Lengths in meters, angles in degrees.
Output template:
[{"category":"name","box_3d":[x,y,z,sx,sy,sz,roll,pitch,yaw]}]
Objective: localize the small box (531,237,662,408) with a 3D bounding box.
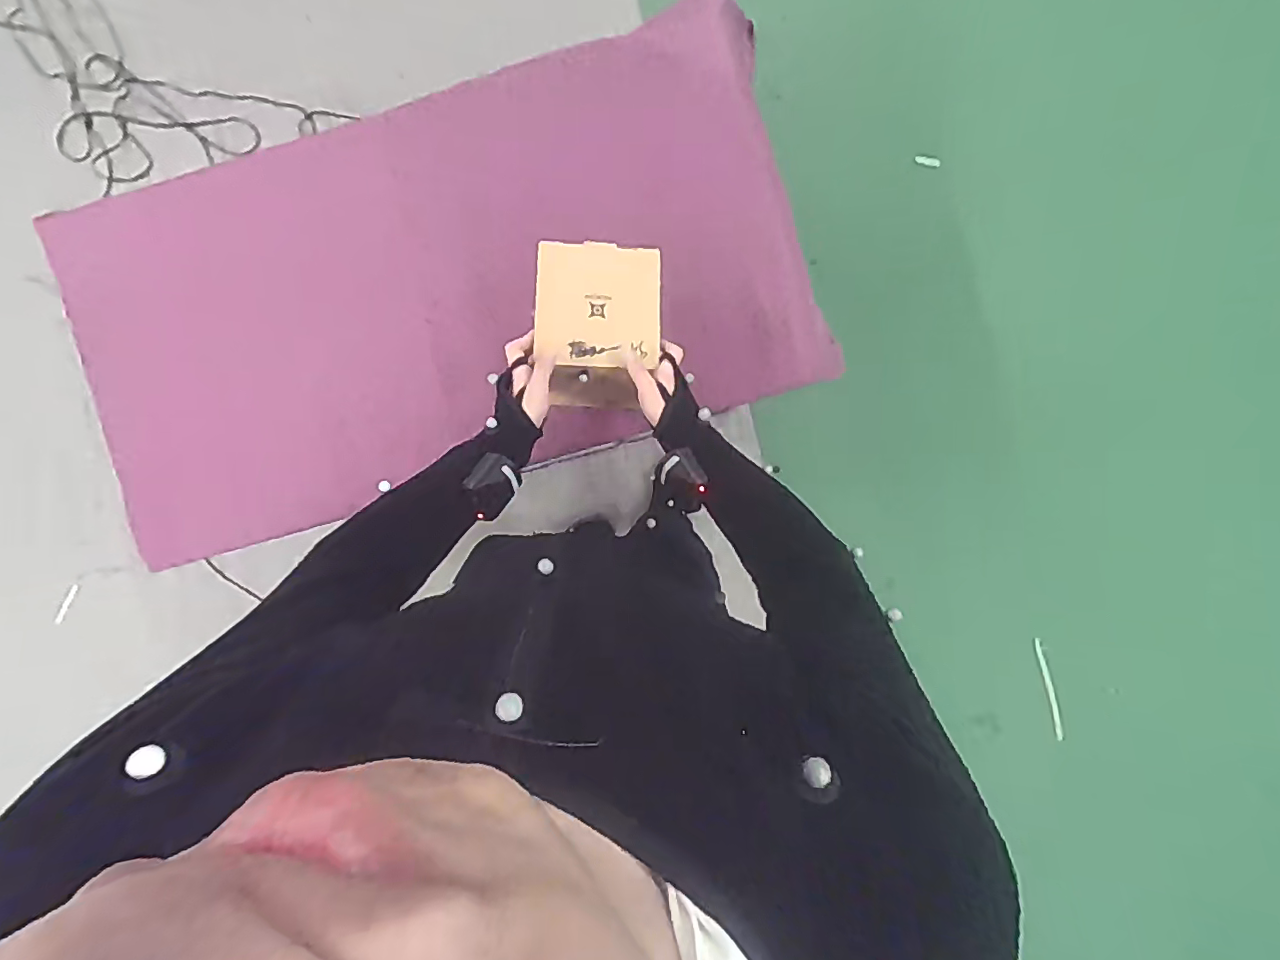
[{"category":"small box","box_3d":[-0.062,-0.216,0.777,0.168,0.176,0.179,2,82,-5]}]
